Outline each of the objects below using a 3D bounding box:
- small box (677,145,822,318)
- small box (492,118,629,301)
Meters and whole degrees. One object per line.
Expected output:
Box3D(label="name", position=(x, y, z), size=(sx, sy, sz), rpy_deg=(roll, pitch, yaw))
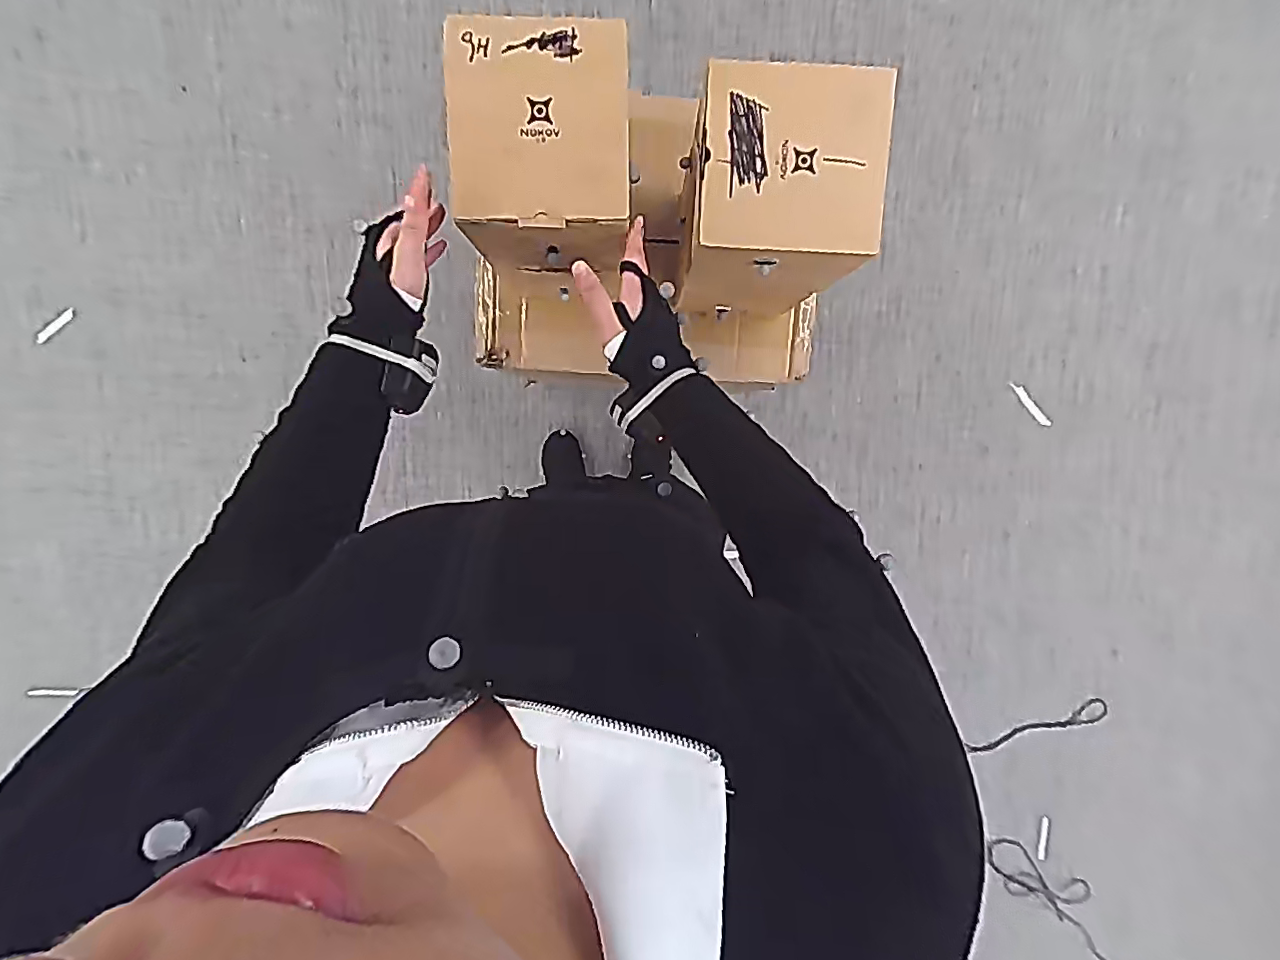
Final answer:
Box3D(label="small box", position=(0.140, -0.332, 0.751), size=(0.168, 0.176, 0.179), rpy_deg=(2, 98, 1))
Box3D(label="small box", position=(-0.103, -0.355, 0.740), size=(0.168, 0.176, 0.179), rpy_deg=(1, 97, -3))
